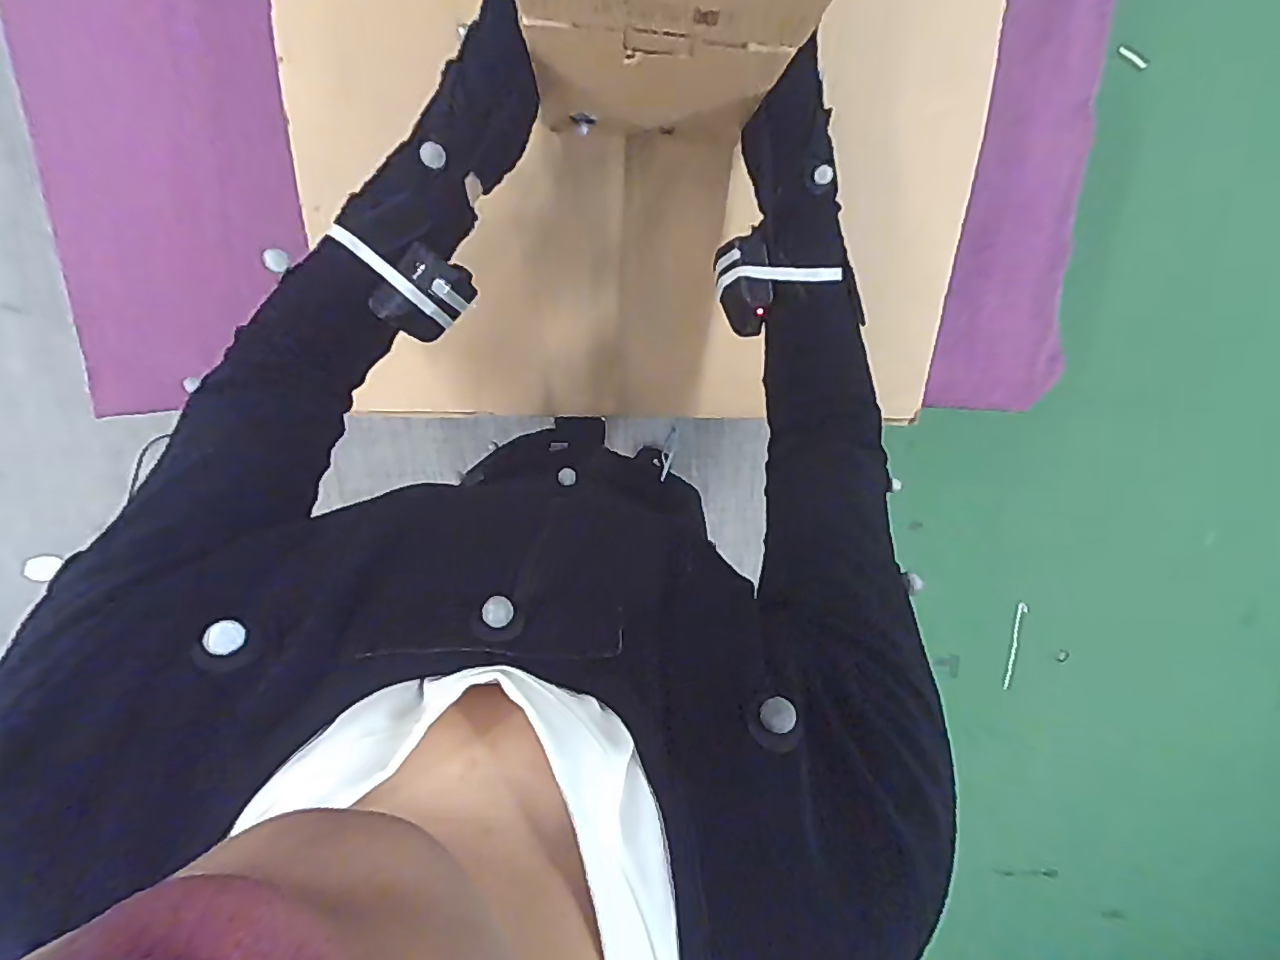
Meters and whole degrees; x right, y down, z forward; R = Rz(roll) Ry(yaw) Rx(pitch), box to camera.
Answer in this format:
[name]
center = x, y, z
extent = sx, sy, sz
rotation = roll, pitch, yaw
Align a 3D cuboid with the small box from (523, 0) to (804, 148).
[small box]
center = 0.015, -0.357, 0.376
extent = 0.168, 0.176, 0.179
rotation = 3, 104, -5
